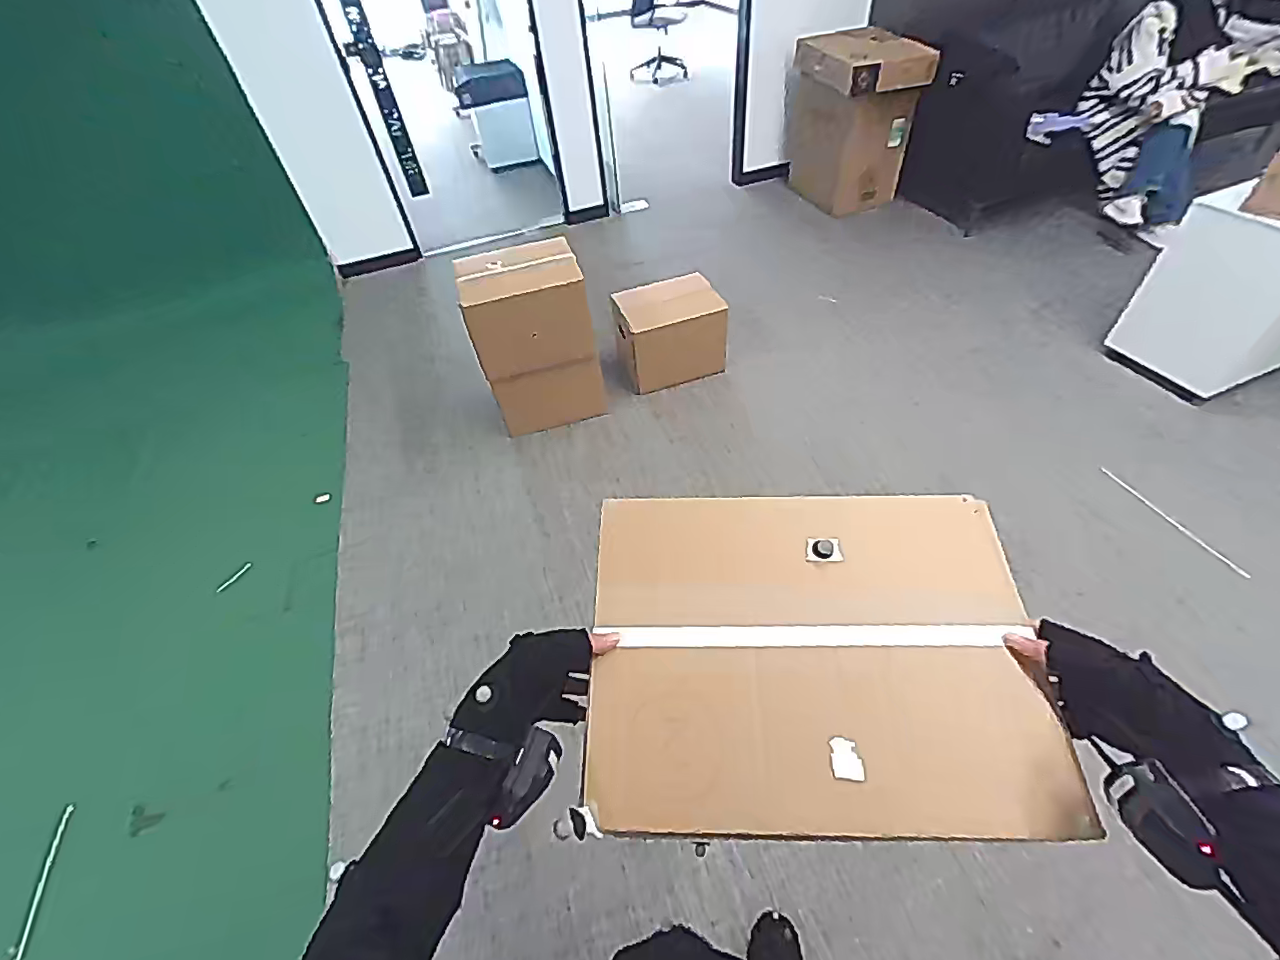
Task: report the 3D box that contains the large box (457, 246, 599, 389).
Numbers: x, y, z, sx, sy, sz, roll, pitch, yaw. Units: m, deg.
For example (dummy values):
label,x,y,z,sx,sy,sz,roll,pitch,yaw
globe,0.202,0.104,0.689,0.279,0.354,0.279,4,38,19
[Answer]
label,x,y,z,sx,sy,sz,roll,pitch,yaw
large box,-0.392,-0.578,1.925,0.408,0.320,0.320,-16,50,-7
